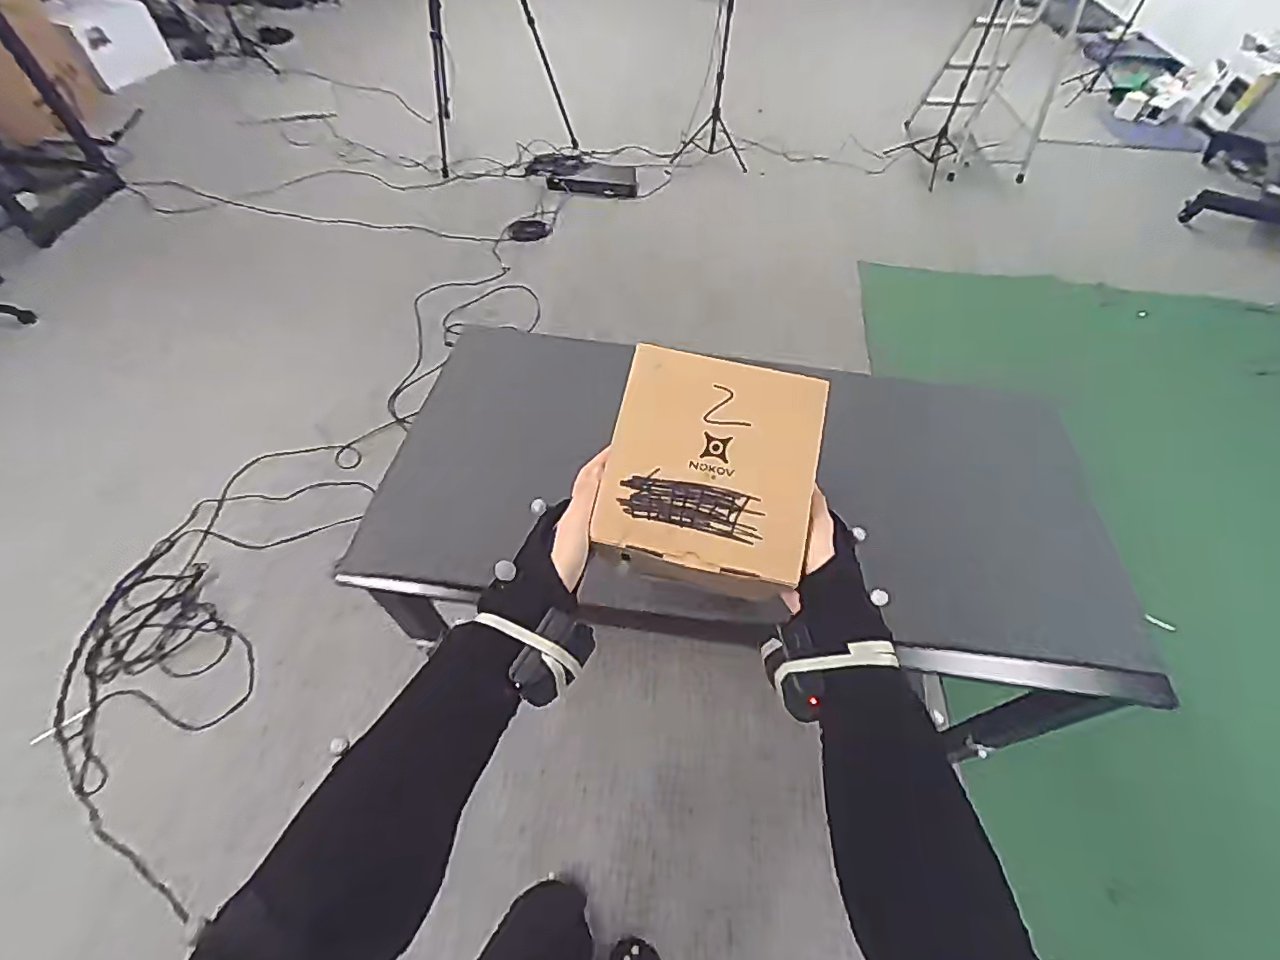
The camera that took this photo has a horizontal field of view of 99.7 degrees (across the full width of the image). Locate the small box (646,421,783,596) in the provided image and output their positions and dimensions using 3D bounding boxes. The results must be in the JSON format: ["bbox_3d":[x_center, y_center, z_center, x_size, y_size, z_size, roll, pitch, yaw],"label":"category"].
[{"bbox_3d":[0.104,0.044,0.792,0.168,0.176,0.179,11,54,6],"label":"small box"}]
